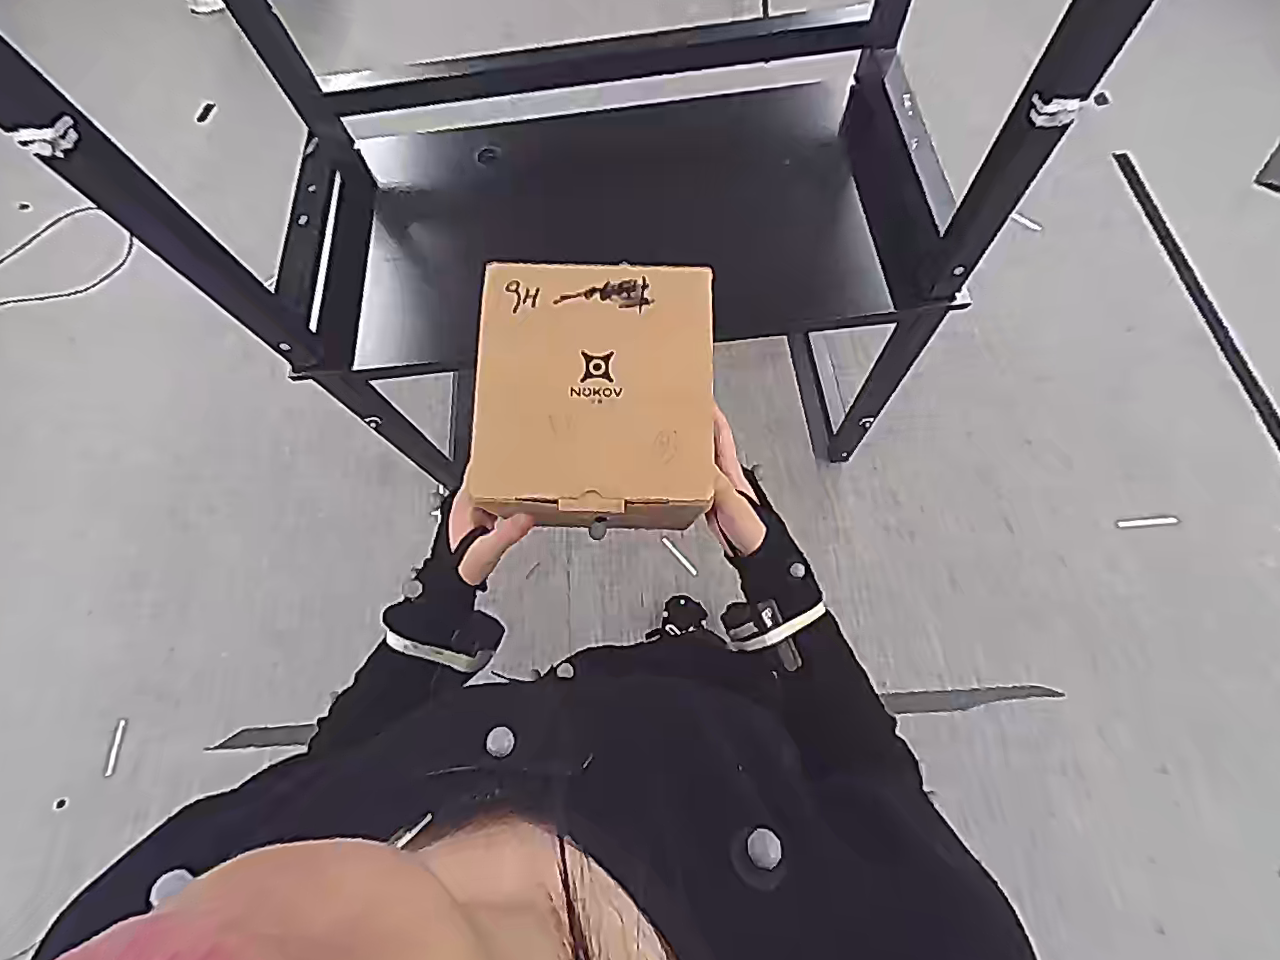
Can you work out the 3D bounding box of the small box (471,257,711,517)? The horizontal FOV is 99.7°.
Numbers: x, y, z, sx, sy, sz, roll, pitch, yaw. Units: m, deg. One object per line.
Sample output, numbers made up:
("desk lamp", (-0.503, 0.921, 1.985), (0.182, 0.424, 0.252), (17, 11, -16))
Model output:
("small box", (-0.033, -0.061, 0.457), (0.168, 0.176, 0.179), (1, 81, -2))
